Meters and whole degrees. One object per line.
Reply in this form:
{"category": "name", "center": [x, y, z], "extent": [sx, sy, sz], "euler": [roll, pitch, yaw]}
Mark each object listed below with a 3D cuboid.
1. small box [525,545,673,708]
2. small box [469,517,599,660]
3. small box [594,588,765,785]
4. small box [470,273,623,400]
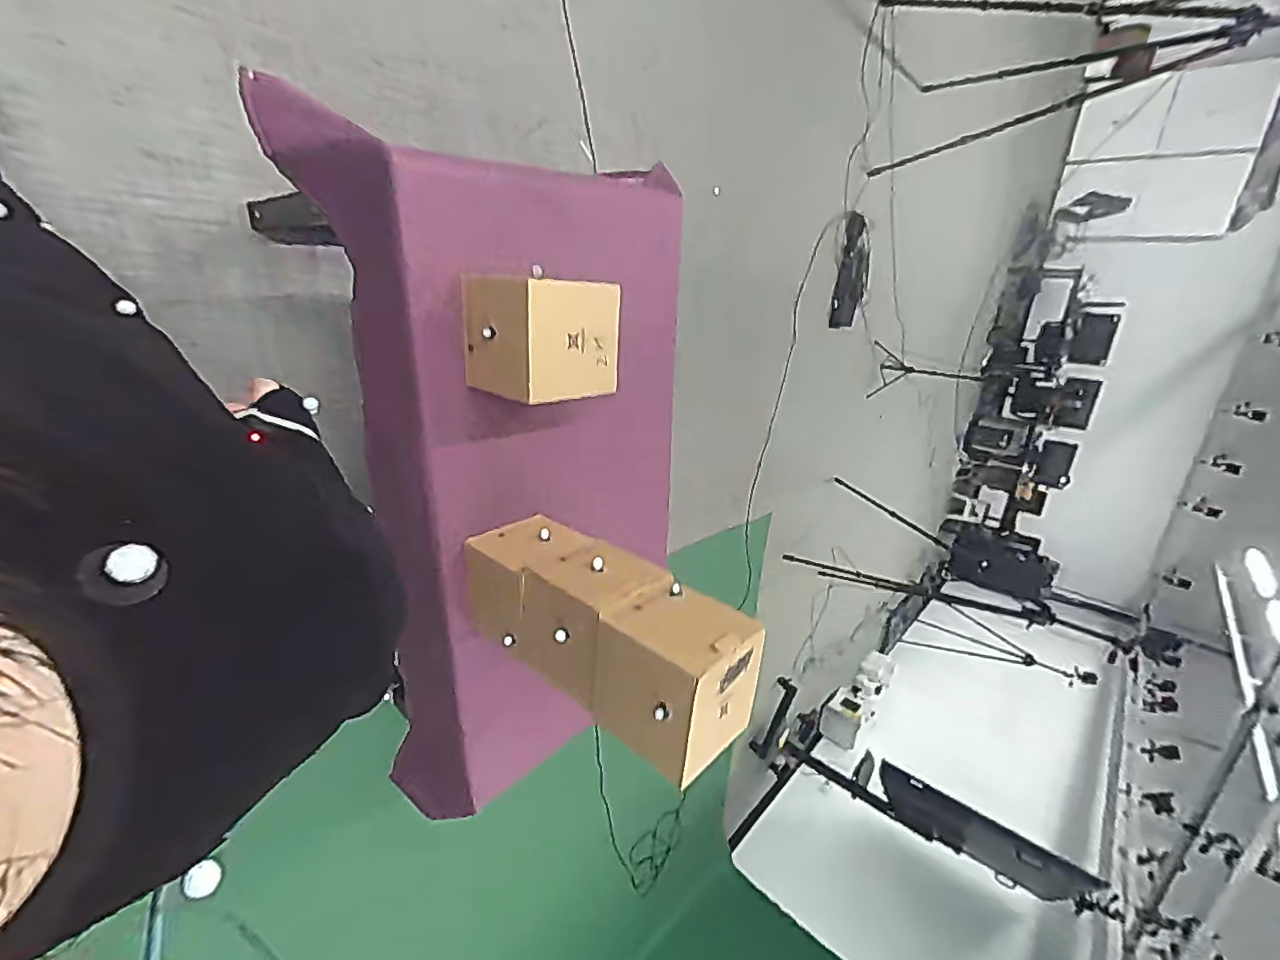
{"category": "small box", "center": [-0.069, 0.218, 0.865], "extent": [0.168, 0.176, 0.179], "euler": [-14, 116, -46]}
{"category": "small box", "center": [-0.190, 0.179, 0.969], "extent": [0.168, 0.176, 0.179], "euler": [-19, 121, -44]}
{"category": "small box", "center": [0.051, 0.272, 0.765], "extent": [0.168, 0.176, 0.179], "euler": [-15, 119, -46]}
{"category": "small box", "center": [-0.148, -0.225, 0.835], "extent": [0.179, 0.176, 0.168], "euler": [-18, 120, -45]}
